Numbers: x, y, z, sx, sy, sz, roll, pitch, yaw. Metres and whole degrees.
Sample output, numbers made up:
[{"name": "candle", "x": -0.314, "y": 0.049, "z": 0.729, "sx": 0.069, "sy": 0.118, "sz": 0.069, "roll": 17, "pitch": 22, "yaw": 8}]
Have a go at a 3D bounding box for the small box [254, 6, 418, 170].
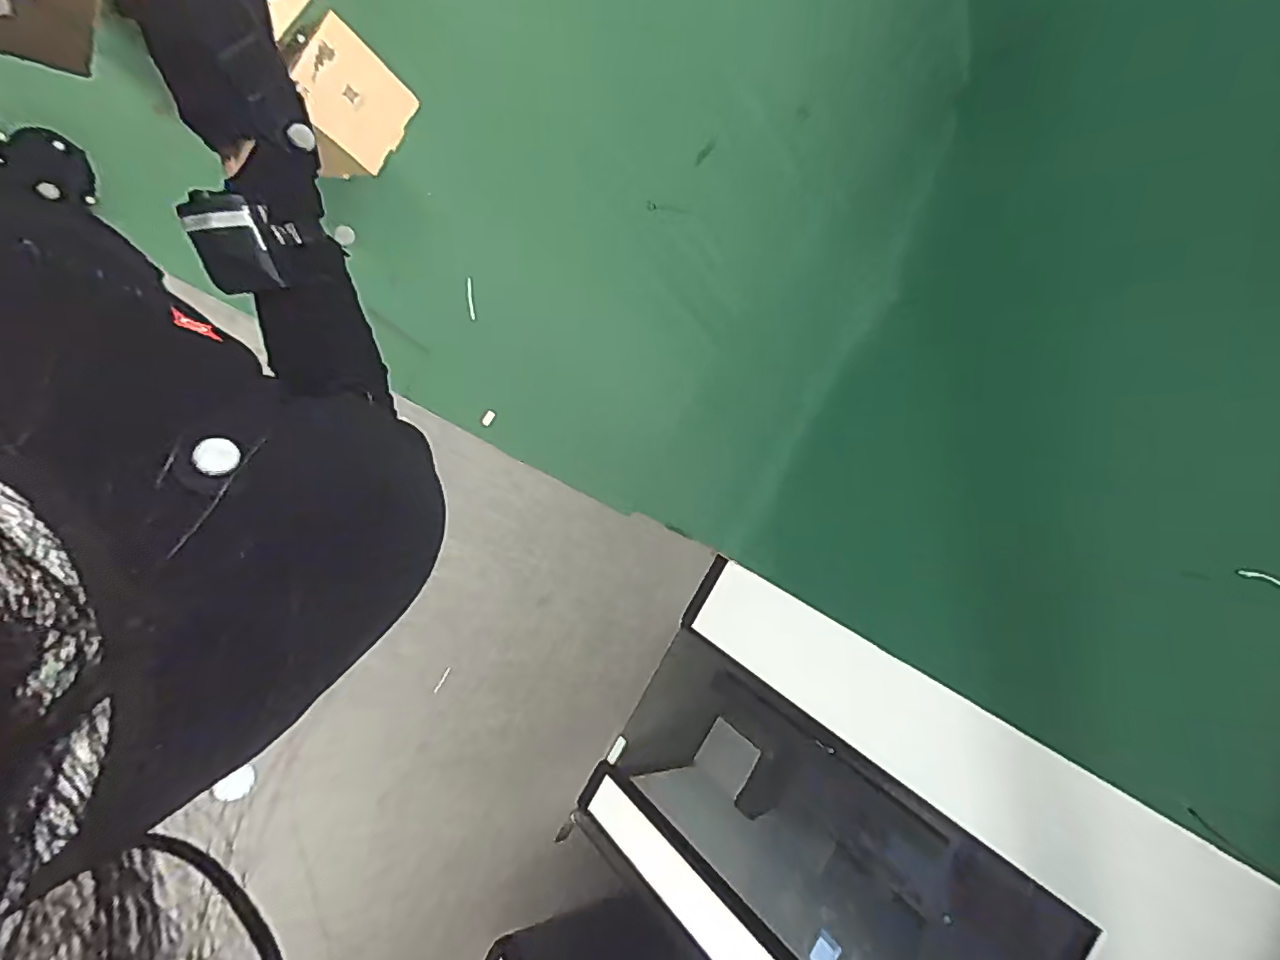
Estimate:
[{"name": "small box", "x": -0.552, "y": -0.704, "z": 0.983, "sx": 0.168, "sy": 0.176, "sz": 0.179, "roll": -59, "pitch": 143, "yaw": -1}]
